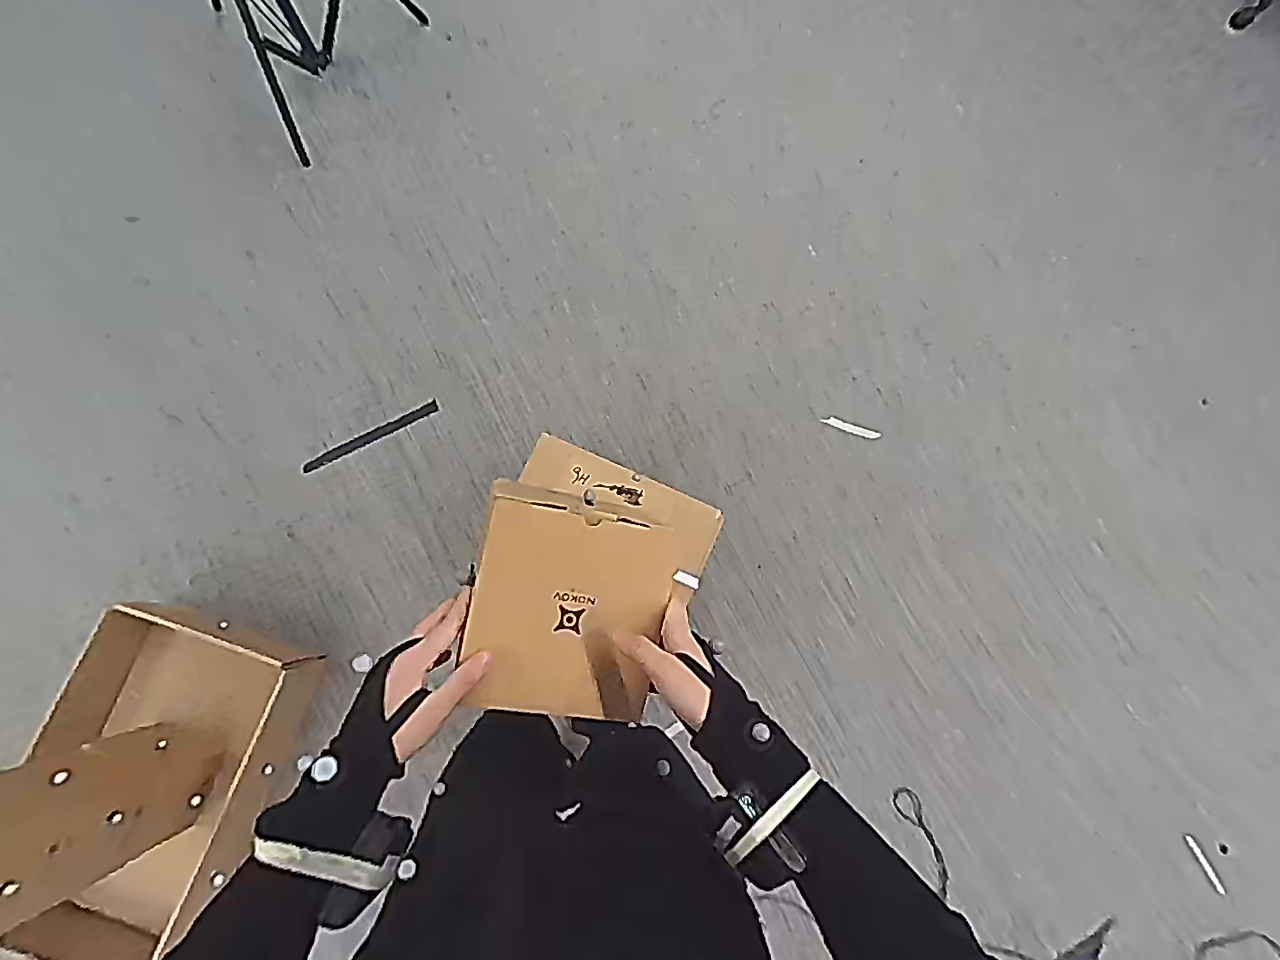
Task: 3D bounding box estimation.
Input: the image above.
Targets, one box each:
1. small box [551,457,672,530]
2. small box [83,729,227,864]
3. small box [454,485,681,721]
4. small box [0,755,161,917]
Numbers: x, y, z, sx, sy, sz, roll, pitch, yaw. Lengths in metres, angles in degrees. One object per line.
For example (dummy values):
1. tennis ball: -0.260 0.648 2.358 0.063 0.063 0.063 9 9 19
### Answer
1. small box: -0.065 0.090 0.812 0.168 0.176 0.179 23 79 1
2. small box: -1.002 0.624 1.092 0.179 0.176 0.168 19 78 0
3. small box: -0.077 0.109 0.539 0.168 0.176 0.179 12 90 -15
4. small box: -0.998 0.598 0.932 0.179 0.176 0.168 14 77 1
